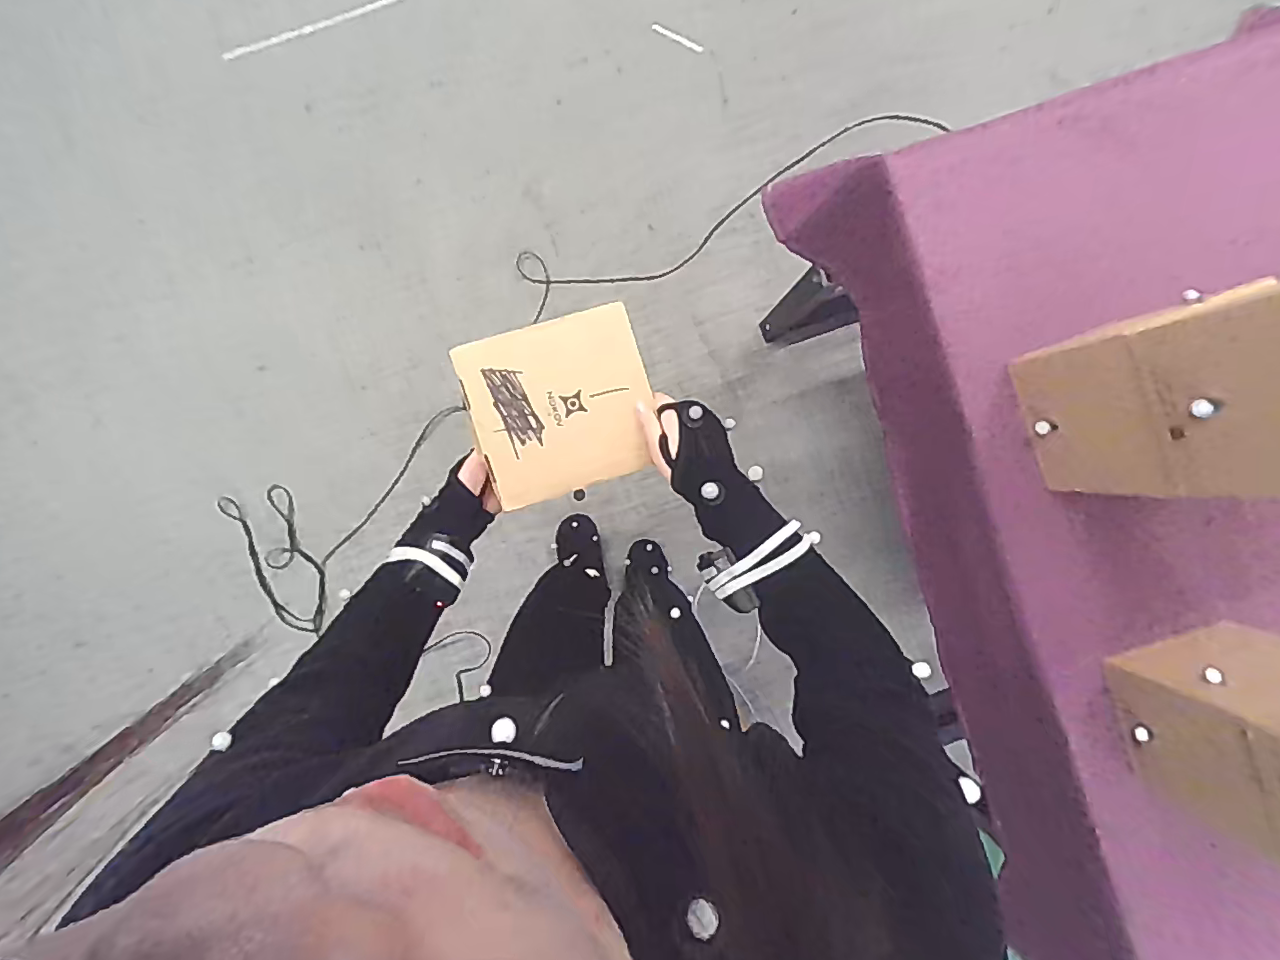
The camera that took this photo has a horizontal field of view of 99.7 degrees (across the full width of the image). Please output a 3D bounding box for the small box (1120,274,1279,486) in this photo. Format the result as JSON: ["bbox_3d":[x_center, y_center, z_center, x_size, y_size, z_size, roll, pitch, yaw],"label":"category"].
[{"bbox_3d":[0.581,-0.098,0.461,0.179,0.176,0.168,-19,92,-2],"label":"small box"}]

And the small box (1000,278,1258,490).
[{"bbox_3d":[0.569,-0.101,0.627,0.168,0.176,0.179,-20,93,-2],"label":"small box"}]

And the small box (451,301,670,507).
[{"bbox_3d":[-0.087,-0.076,0.599,0.179,0.176,0.168,-18,95,-10],"label":"small box"}]

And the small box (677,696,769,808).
[{"bbox_3d":[0.203,0.673,1.366,0.168,0.176,0.179,-21,93,-1],"label":"small box"}]
